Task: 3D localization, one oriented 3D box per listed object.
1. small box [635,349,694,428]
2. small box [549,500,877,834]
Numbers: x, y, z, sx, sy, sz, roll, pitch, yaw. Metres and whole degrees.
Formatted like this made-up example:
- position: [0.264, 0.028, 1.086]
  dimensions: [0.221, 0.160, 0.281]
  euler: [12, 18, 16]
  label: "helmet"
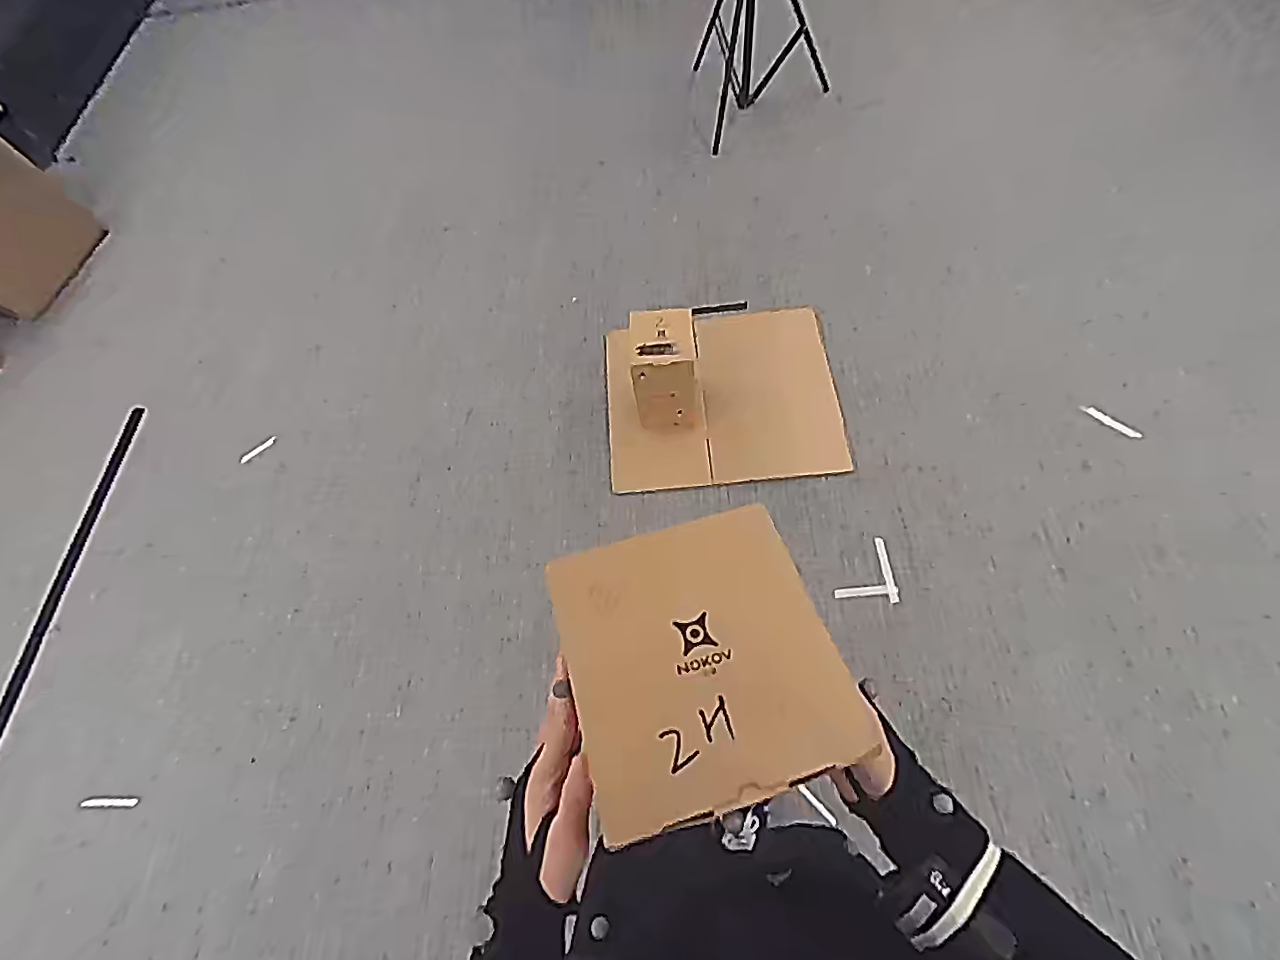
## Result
- position: [0.078, -0.267, 1.613]
  dimensions: [0.168, 0.176, 0.179]
  euler: [-1, 64, 5]
  label: "small box"
- position: [0.037, 0.146, 0.409]
  dimensions: [0.168, 0.176, 0.179]
  euler: [-15, 58, -8]
  label: "small box"
